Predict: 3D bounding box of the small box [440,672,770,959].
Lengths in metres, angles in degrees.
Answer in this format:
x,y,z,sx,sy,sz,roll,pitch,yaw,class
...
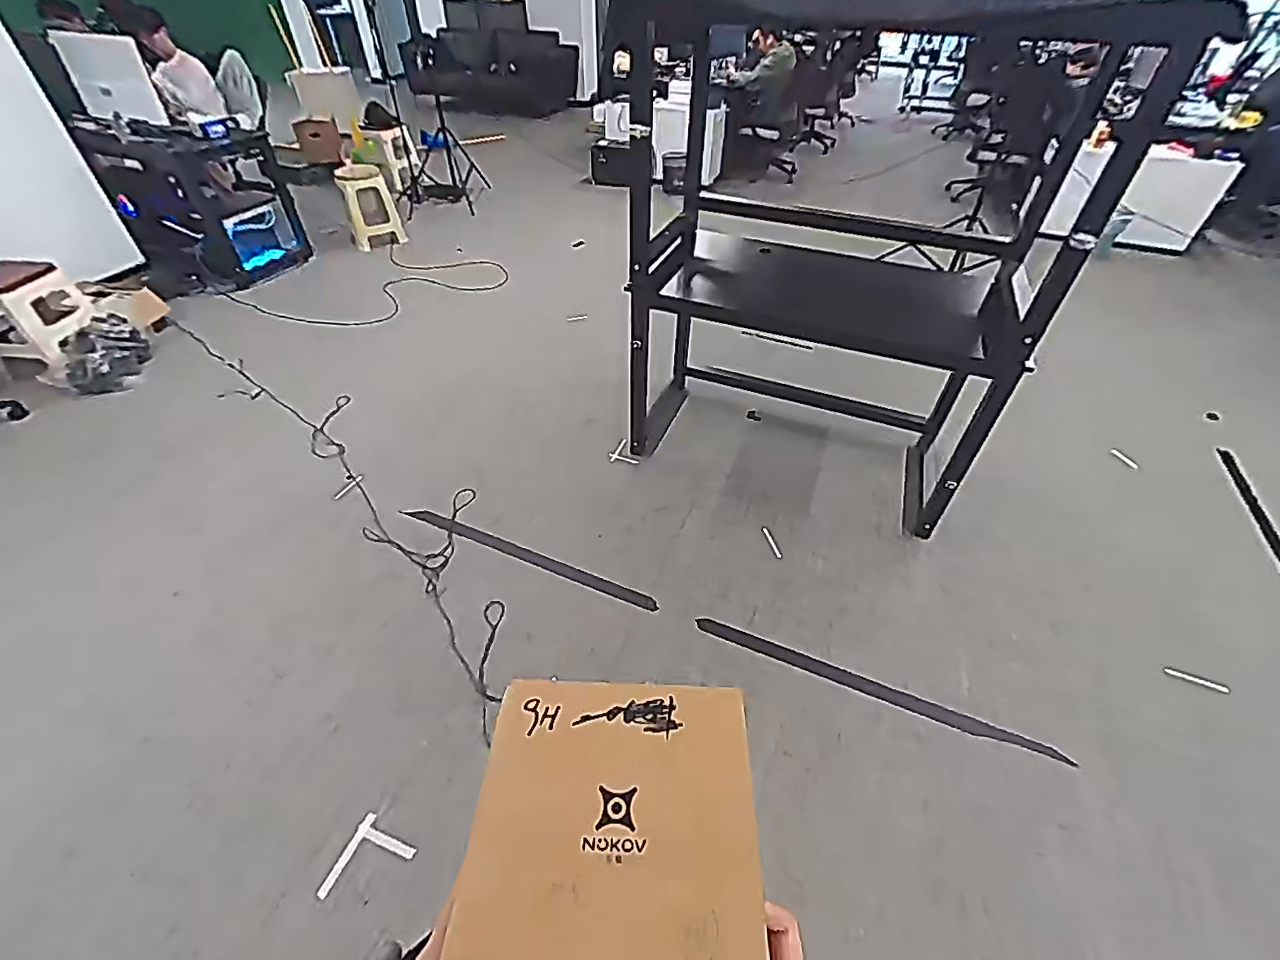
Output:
x,y,z,sx,sy,sz,roll,pitch,yaw,class
-0.013,0.252,0.362,0.168,0.176,0.179,2,43,1,small box
